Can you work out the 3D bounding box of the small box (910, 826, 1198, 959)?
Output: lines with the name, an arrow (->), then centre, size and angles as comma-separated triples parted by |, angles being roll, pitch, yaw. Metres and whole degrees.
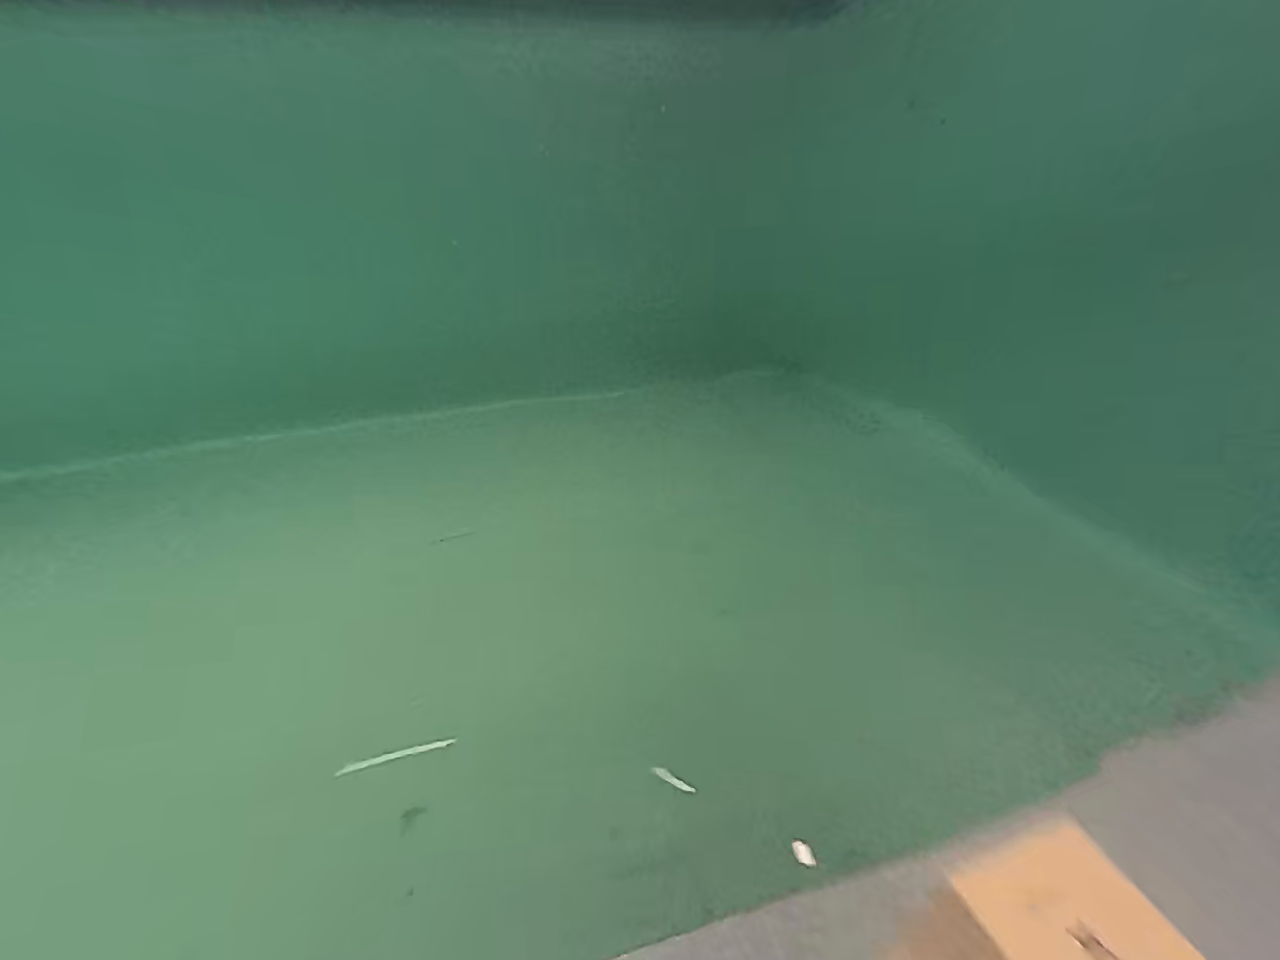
small box -> 0.403, 0.487, 0.522 | 0.168, 0.176, 0.179 | -11, 35, -16
